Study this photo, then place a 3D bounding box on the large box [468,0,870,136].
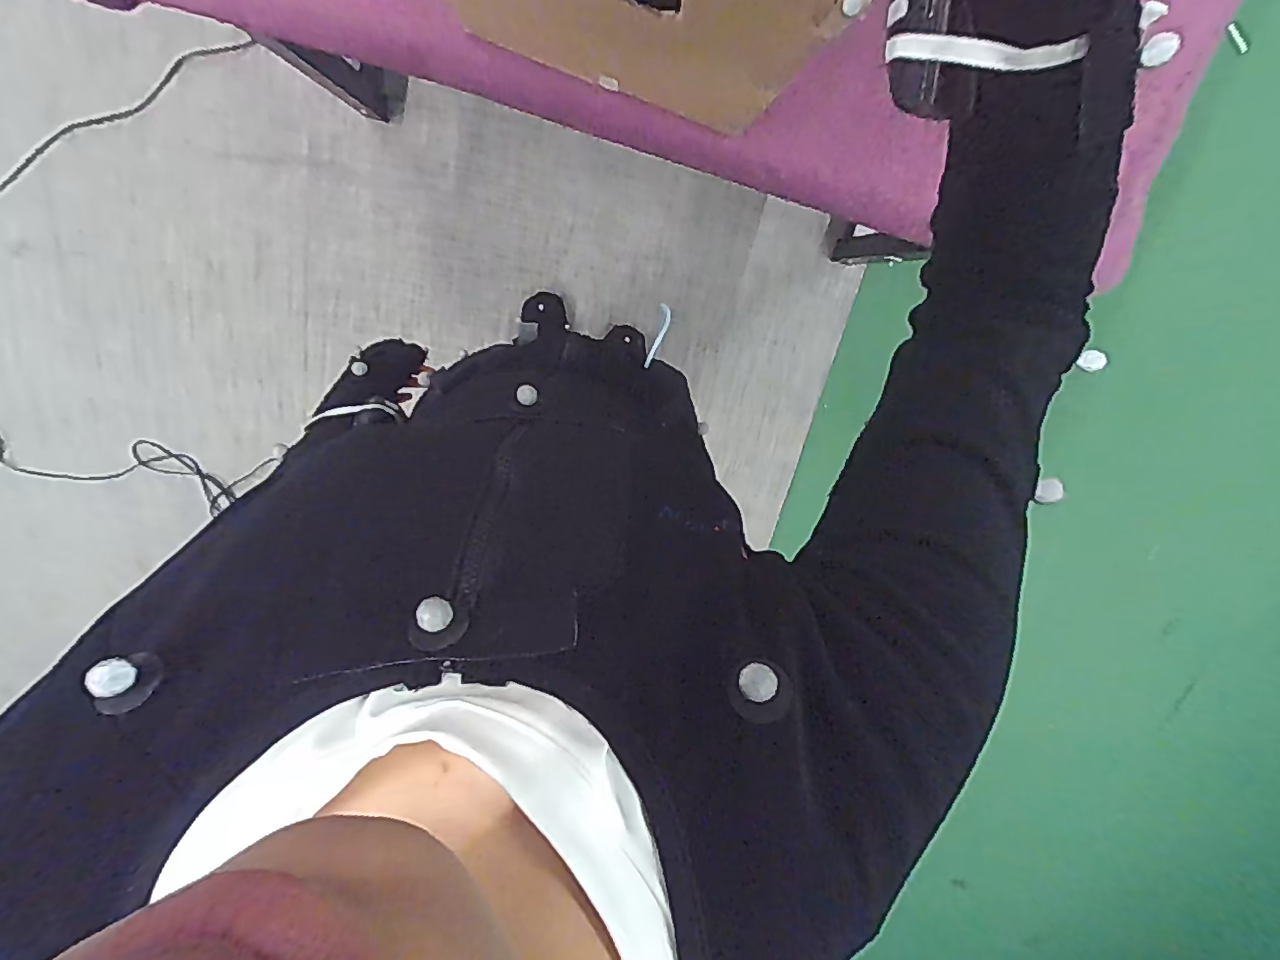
[{"bbox_3d":[0.043,-0.566,0.410,0.320,0.320,0.408,15,108,-10],"label":"large box"}]
